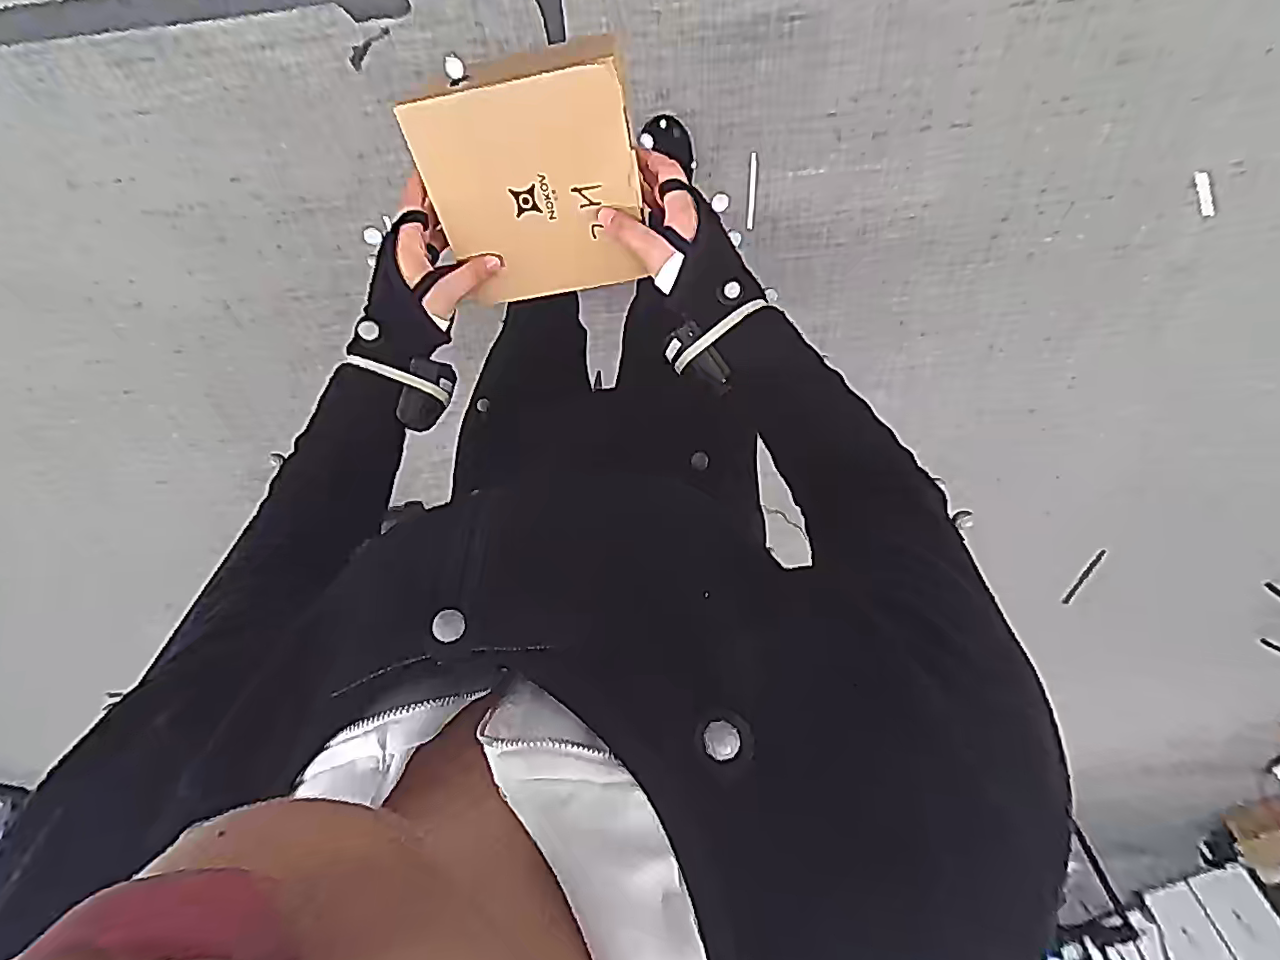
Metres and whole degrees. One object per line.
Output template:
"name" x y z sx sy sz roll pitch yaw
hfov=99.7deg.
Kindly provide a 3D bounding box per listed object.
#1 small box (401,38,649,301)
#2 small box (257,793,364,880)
"small box" -0.088 -0.296 0.516 0.179 0.176 0.168 -8 135 5
"small box" -0.916 1.001 1.522 0.179 0.176 0.168 -2 133 -2
